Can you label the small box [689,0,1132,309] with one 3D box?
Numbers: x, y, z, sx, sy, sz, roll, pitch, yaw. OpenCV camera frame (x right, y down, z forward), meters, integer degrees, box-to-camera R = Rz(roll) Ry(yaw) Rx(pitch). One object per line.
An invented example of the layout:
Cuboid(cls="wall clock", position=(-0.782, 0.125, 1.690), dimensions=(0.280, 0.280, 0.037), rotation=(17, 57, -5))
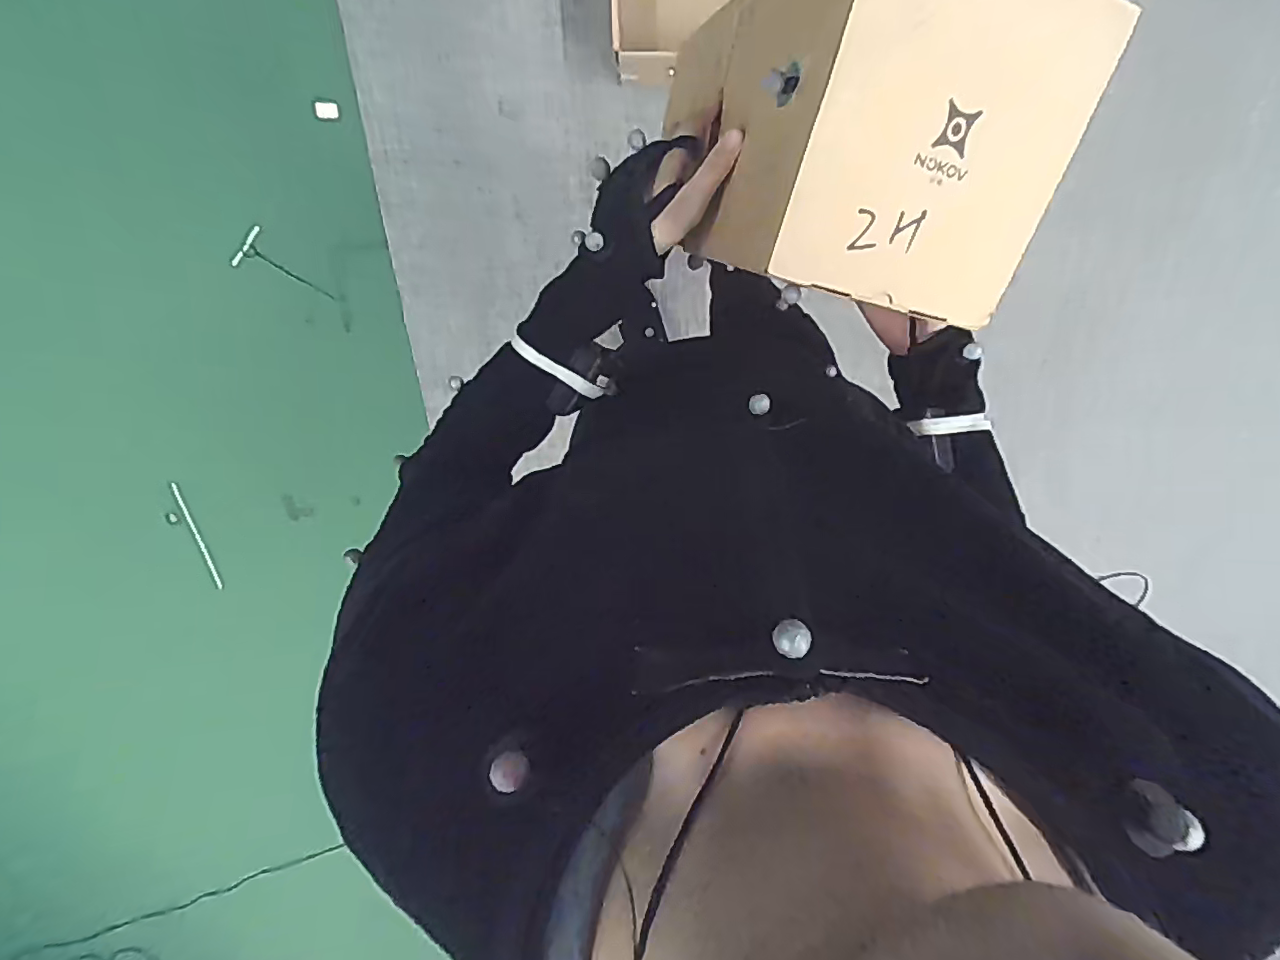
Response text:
Cuboid(cls="small box", position=(0.147, -0.234, 0.362), dimensions=(0.168, 0.176, 0.179), rotation=(8, 116, -17))
